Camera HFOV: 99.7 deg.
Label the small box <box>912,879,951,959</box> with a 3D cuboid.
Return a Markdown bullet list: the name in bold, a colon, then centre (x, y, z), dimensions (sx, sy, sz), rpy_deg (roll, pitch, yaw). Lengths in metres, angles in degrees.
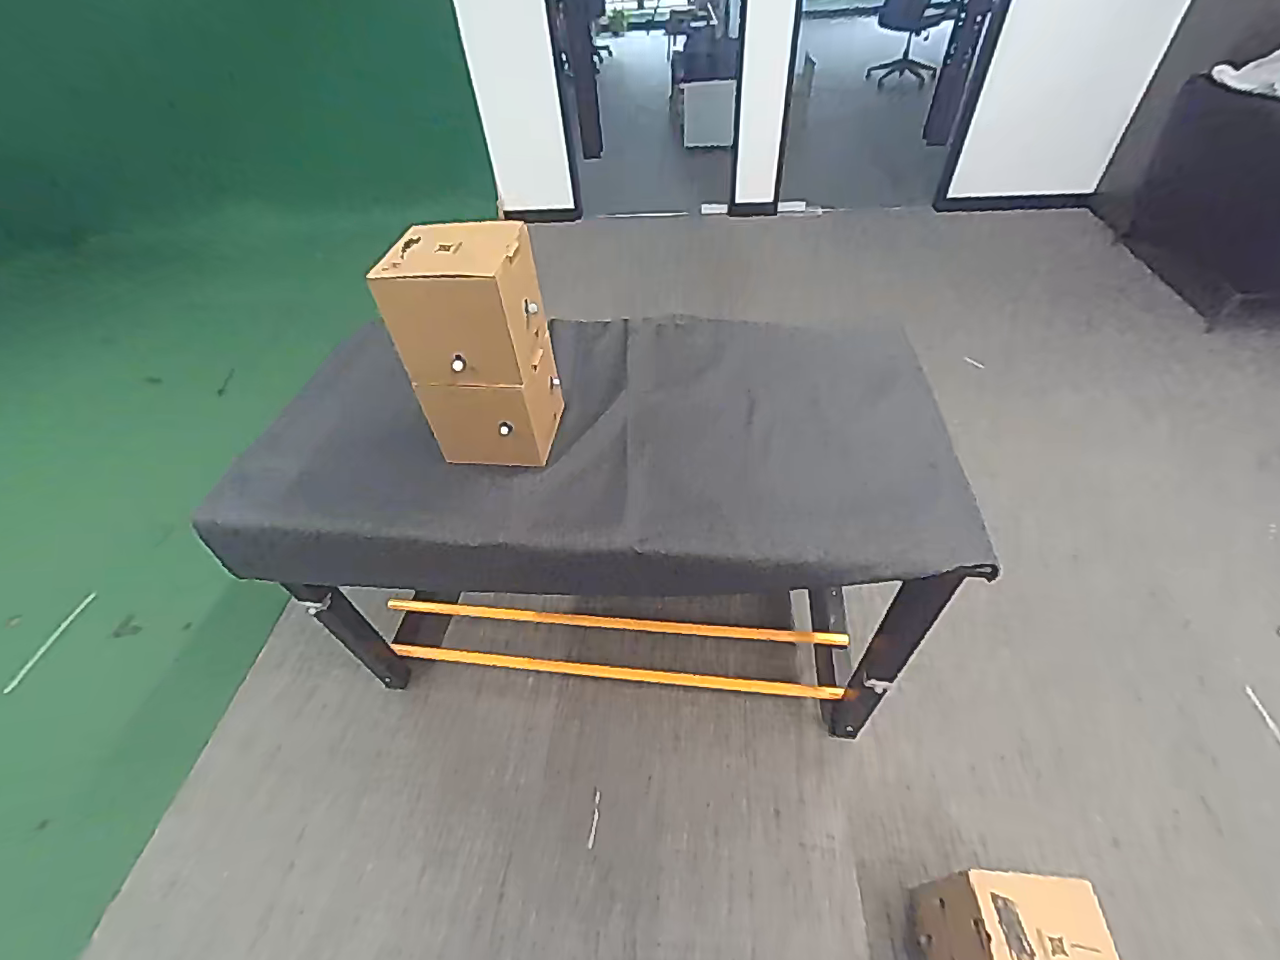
- **small box**: centre (0.604, 0.820, 0.943), dimensions (0.179, 0.176, 0.168), rpy_deg (3, 46, 7)

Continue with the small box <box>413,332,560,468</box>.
- **small box**: centre (-0.242, -0.134, 0.912), dimensions (0.179, 0.176, 0.168), rpy_deg (2, 45, 7)

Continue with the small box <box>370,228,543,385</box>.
- **small box**: centre (-0.252, -0.253, 0.799), dimensions (0.179, 0.176, 0.168), rpy_deg (2, 46, 5)

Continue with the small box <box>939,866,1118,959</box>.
- **small box**: centre (0.582, 0.710, 0.823), dimensions (0.179, 0.176, 0.168), rpy_deg (2, 47, 5)
